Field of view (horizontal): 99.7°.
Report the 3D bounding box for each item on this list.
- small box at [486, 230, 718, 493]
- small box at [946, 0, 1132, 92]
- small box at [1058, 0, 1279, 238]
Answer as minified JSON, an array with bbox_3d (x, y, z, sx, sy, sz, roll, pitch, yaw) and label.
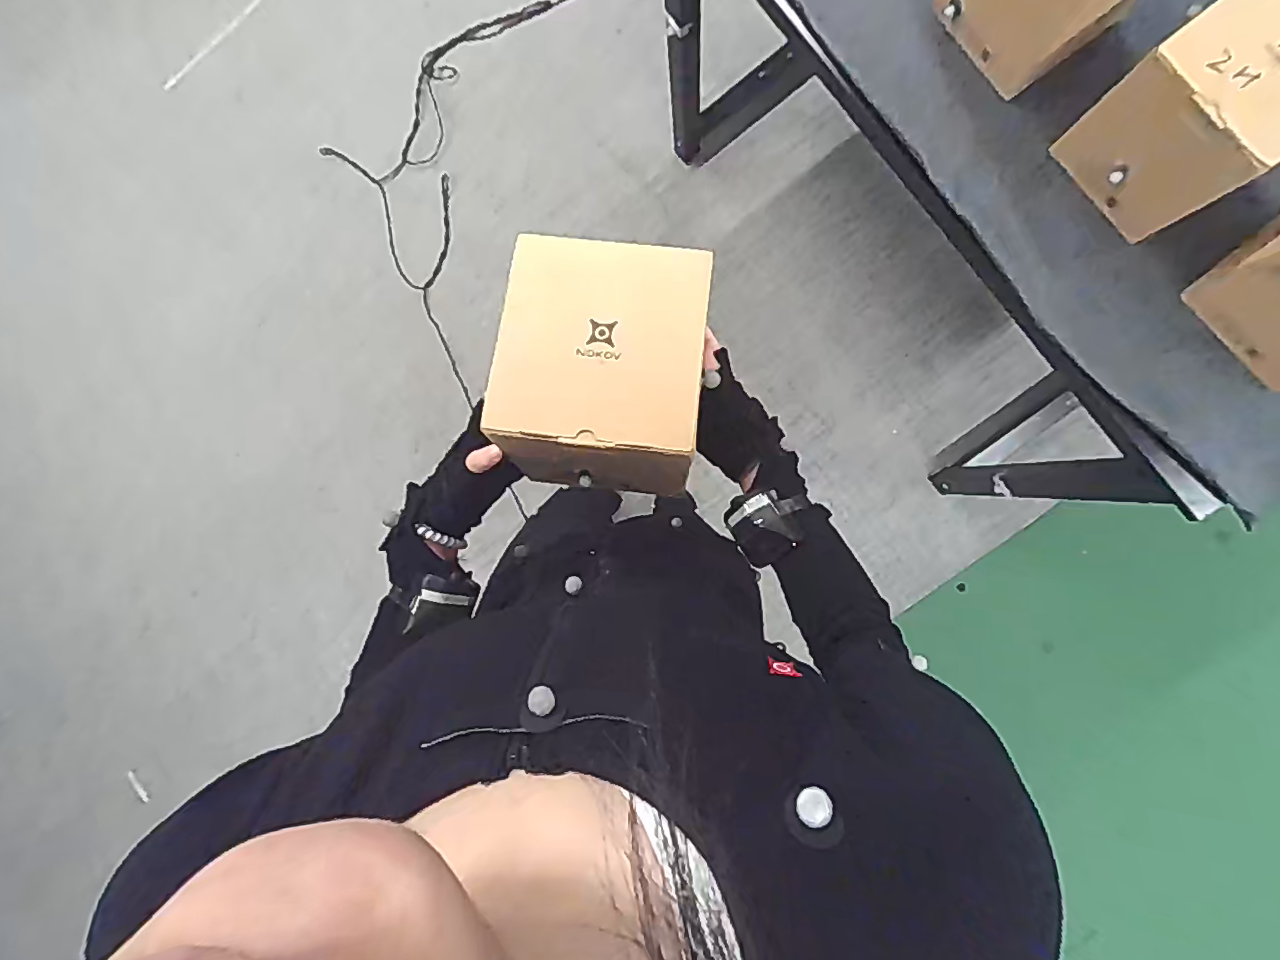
[{"bbox_3d":[-0.027,-0.096,0.503,0.168,0.176,0.179,6,78,2],"label":"small box"},{"bbox_3d":[0.495,-0.612,0.628,0.179,0.176,0.168,-36,87,3],"label":"small box"},{"bbox_3d":[0.641,-0.419,0.612,0.179,0.176,0.168,-38,86,4],"label":"small box"}]
